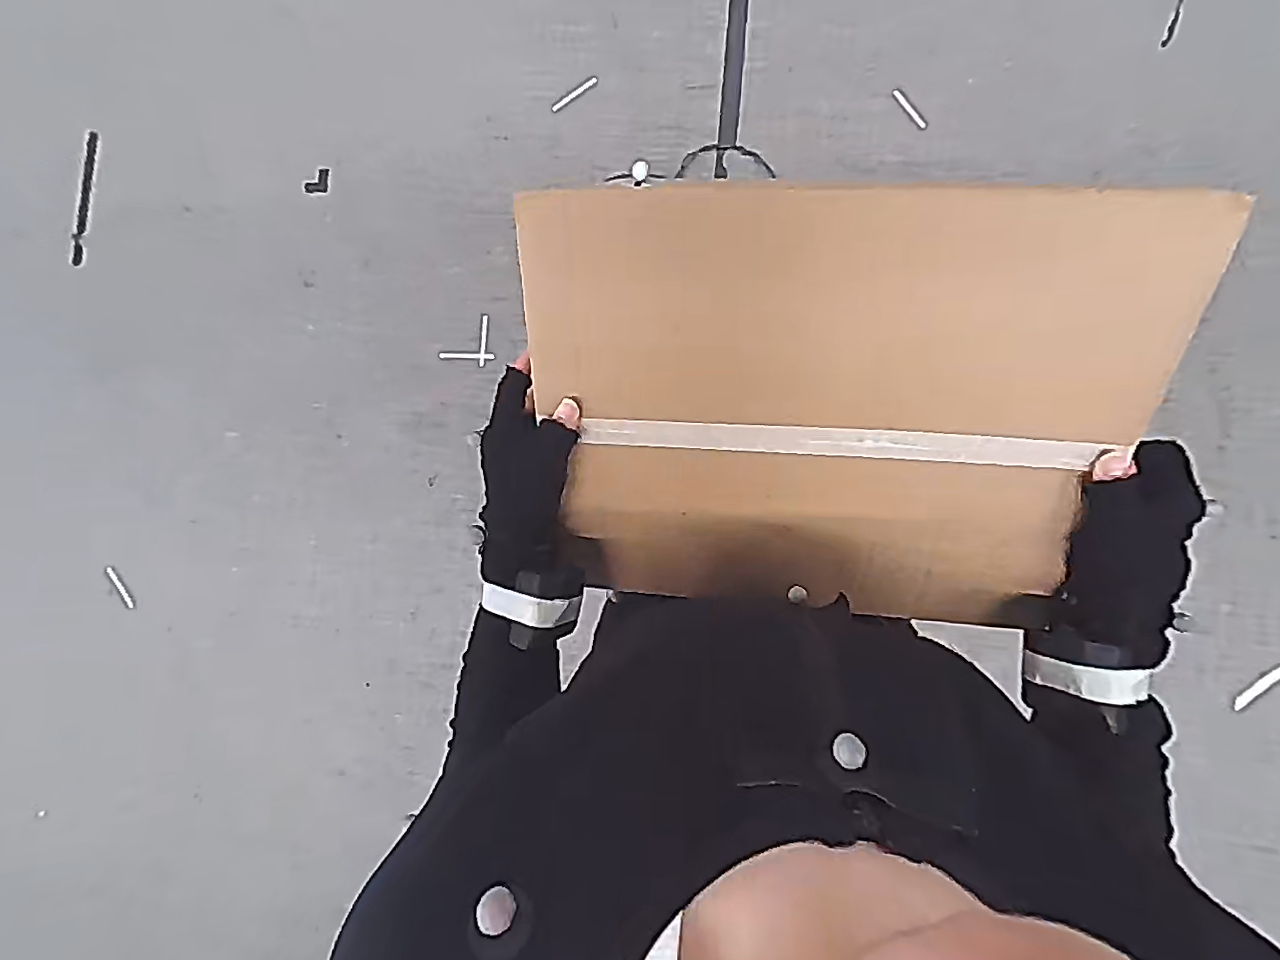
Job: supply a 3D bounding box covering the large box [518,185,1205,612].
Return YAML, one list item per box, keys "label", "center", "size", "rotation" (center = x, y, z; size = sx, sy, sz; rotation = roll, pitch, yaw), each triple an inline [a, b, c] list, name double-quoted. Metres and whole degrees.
- label: "large box"
  center: [0.139, -0.107, 0.524]
  size: [0.408, 0.320, 0.320]
  rotation: [4, 121, 8]
